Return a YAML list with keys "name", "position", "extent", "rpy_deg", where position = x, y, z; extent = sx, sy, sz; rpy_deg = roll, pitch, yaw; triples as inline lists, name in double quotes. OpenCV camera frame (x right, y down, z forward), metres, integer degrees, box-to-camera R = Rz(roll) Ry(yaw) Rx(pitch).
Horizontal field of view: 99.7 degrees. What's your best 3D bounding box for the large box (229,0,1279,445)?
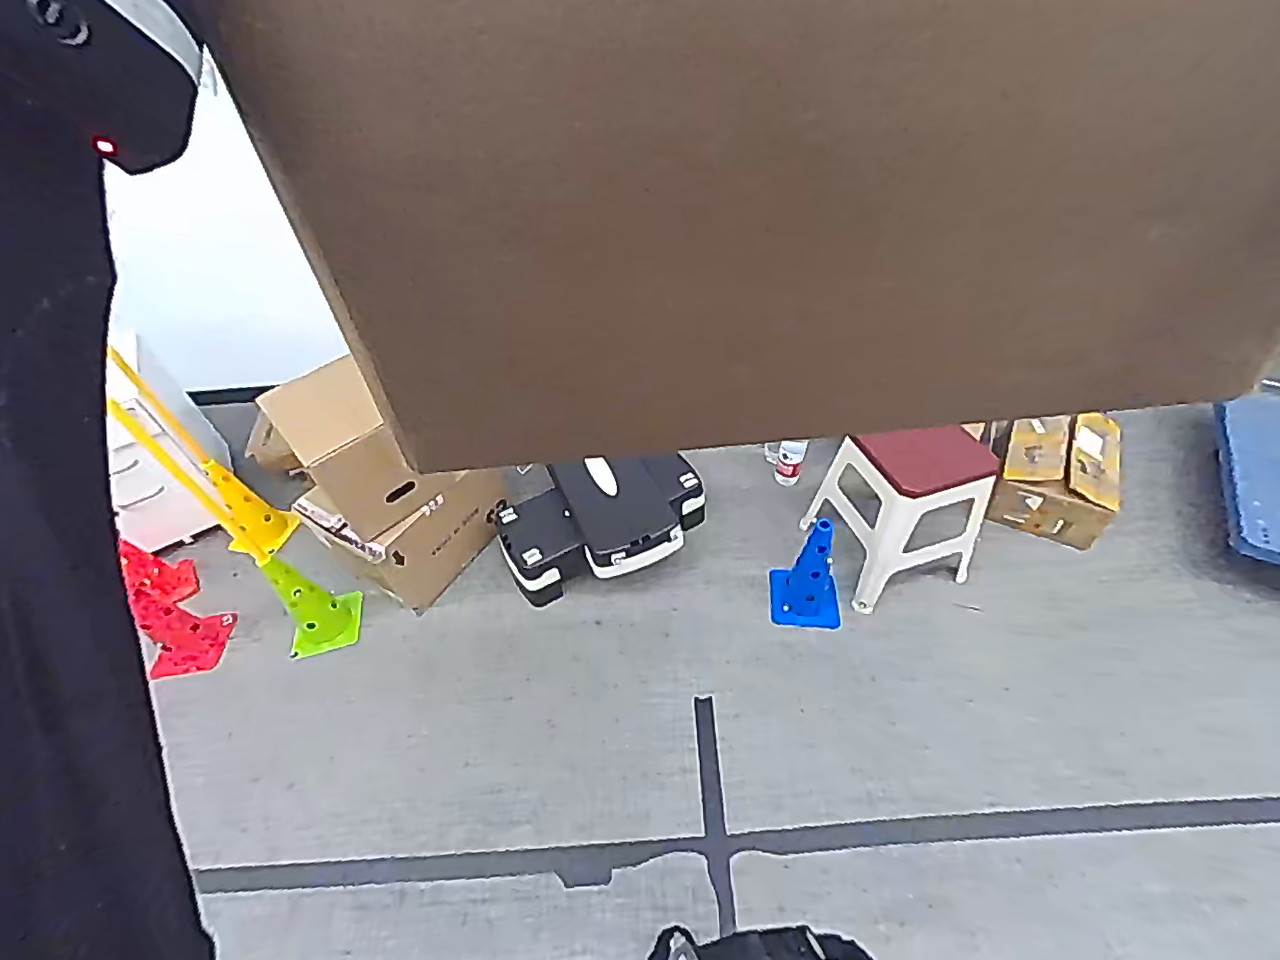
- name: "large box"
  position: [0.064, -0.241, 0.285]
  extent: [0.408, 0.320, 0.320]
  rpy_deg: [-5, 41, 0]
